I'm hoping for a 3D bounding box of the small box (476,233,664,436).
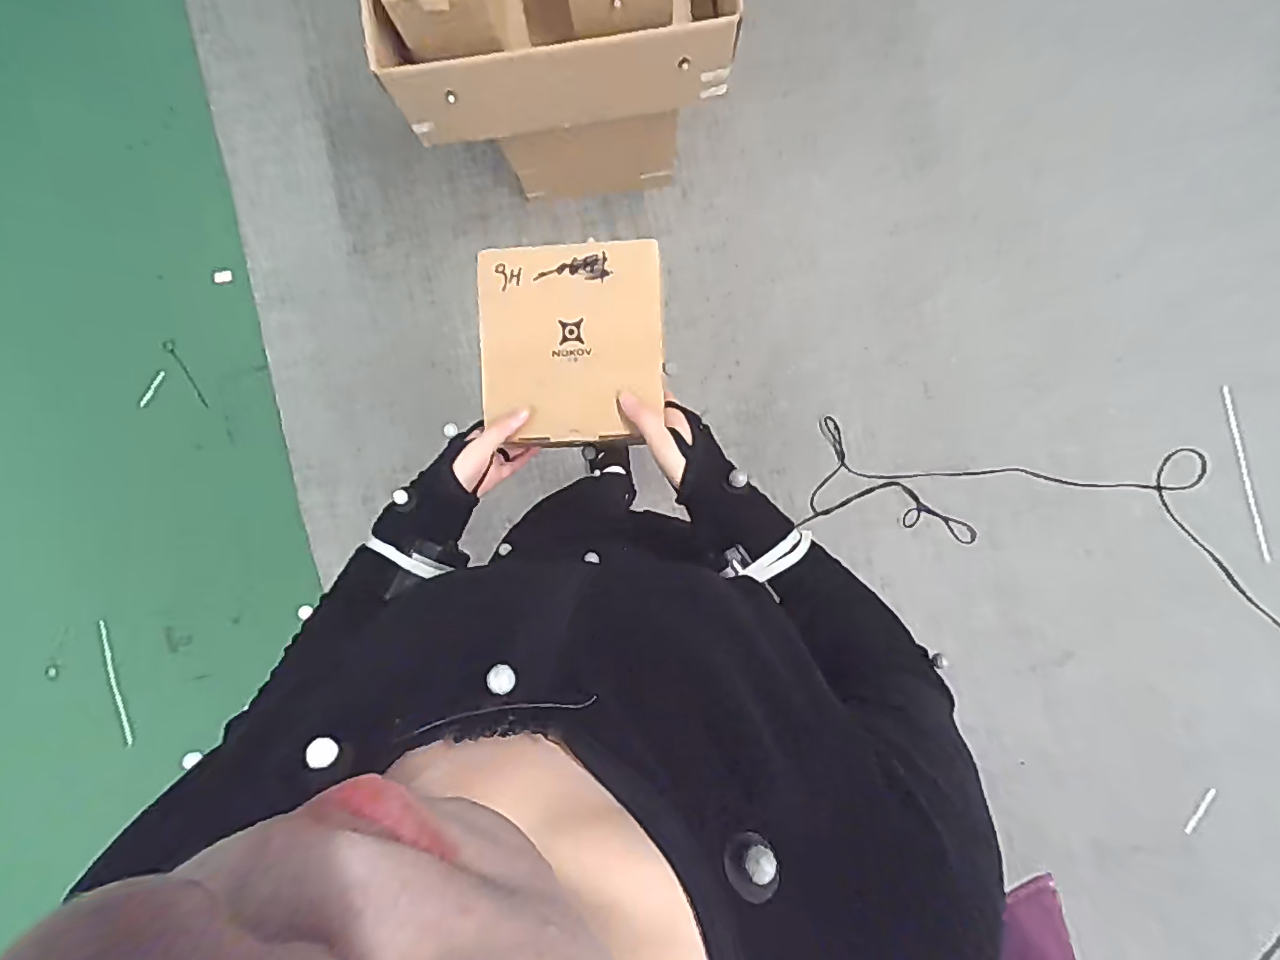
[{"bbox_3d":[-0.060,-0.134,0.563,0.168,0.176,0.179,-1,93,3],"label":"small box"}]
